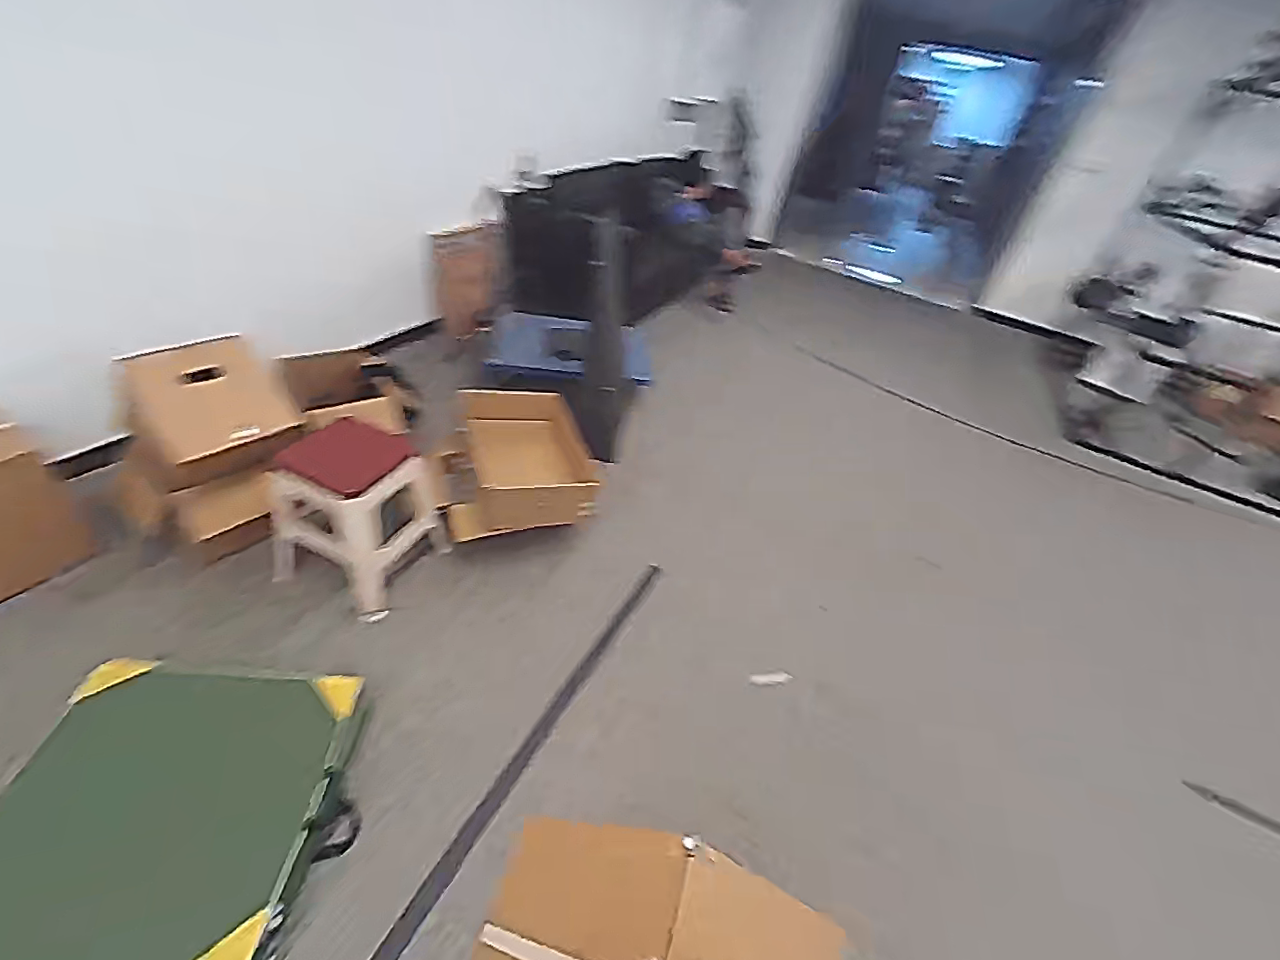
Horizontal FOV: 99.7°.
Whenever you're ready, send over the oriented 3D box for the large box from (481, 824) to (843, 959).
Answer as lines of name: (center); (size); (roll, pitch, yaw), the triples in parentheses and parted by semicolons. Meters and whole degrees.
large box: (0.009, 0.714, 0.744); (0.320, 0.408, 0.320); (41, 46, -21)
